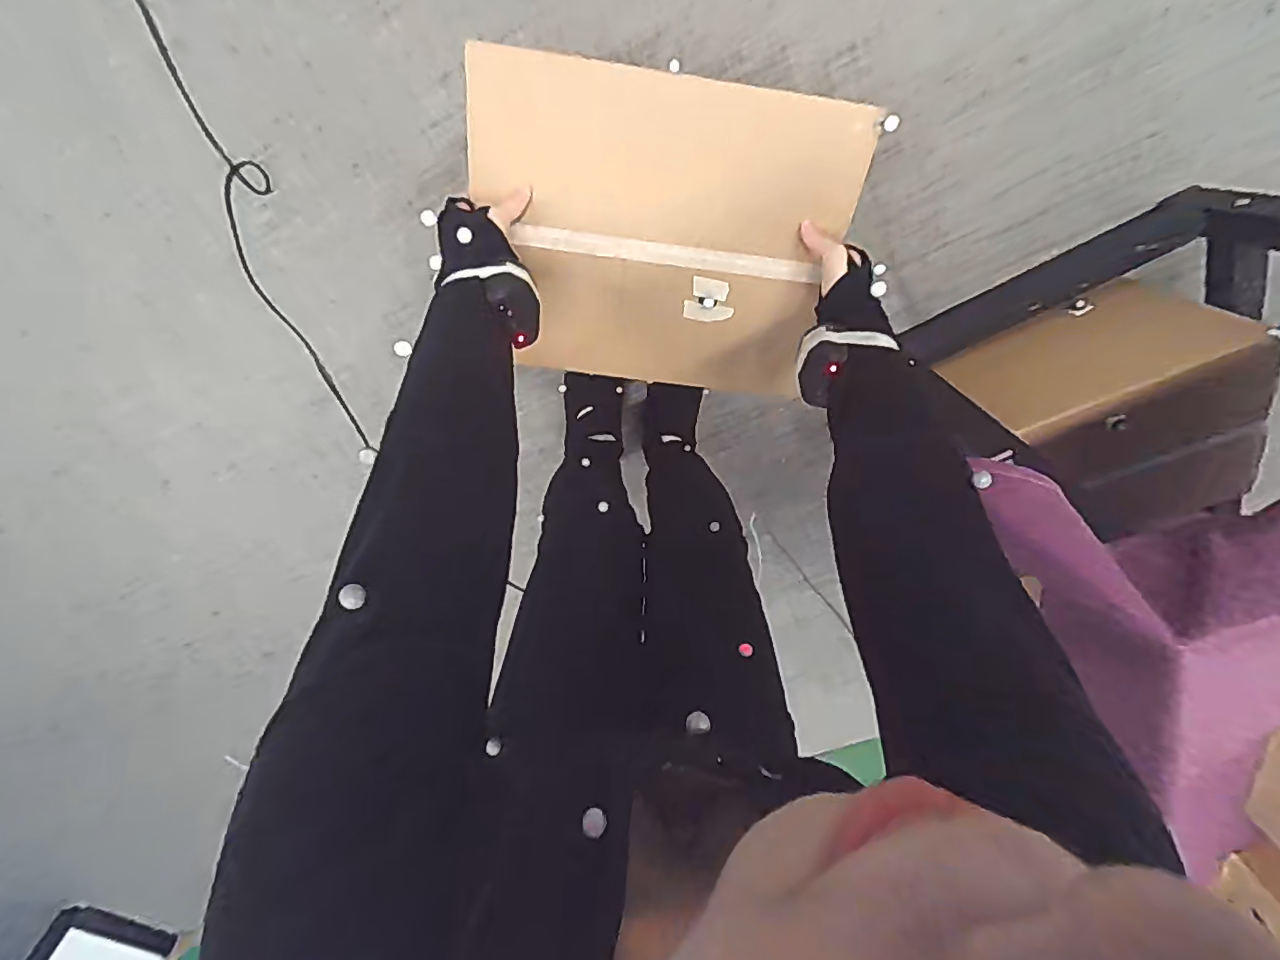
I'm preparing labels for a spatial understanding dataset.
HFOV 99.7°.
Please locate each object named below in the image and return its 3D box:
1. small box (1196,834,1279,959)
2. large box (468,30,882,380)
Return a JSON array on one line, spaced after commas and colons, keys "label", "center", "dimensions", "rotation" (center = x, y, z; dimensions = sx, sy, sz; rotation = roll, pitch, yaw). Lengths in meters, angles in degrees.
[{"label": "small box", "center": [0.826, 0.526, 0.626], "dimensions": [0.179, 0.176, 0.168], "rotation": [-17, 123, 10]}, {"label": "large box", "center": [0.018, -0.354, 0.713], "dimensions": [0.408, 0.320, 0.320], "rotation": [6, 126, -5]}]
